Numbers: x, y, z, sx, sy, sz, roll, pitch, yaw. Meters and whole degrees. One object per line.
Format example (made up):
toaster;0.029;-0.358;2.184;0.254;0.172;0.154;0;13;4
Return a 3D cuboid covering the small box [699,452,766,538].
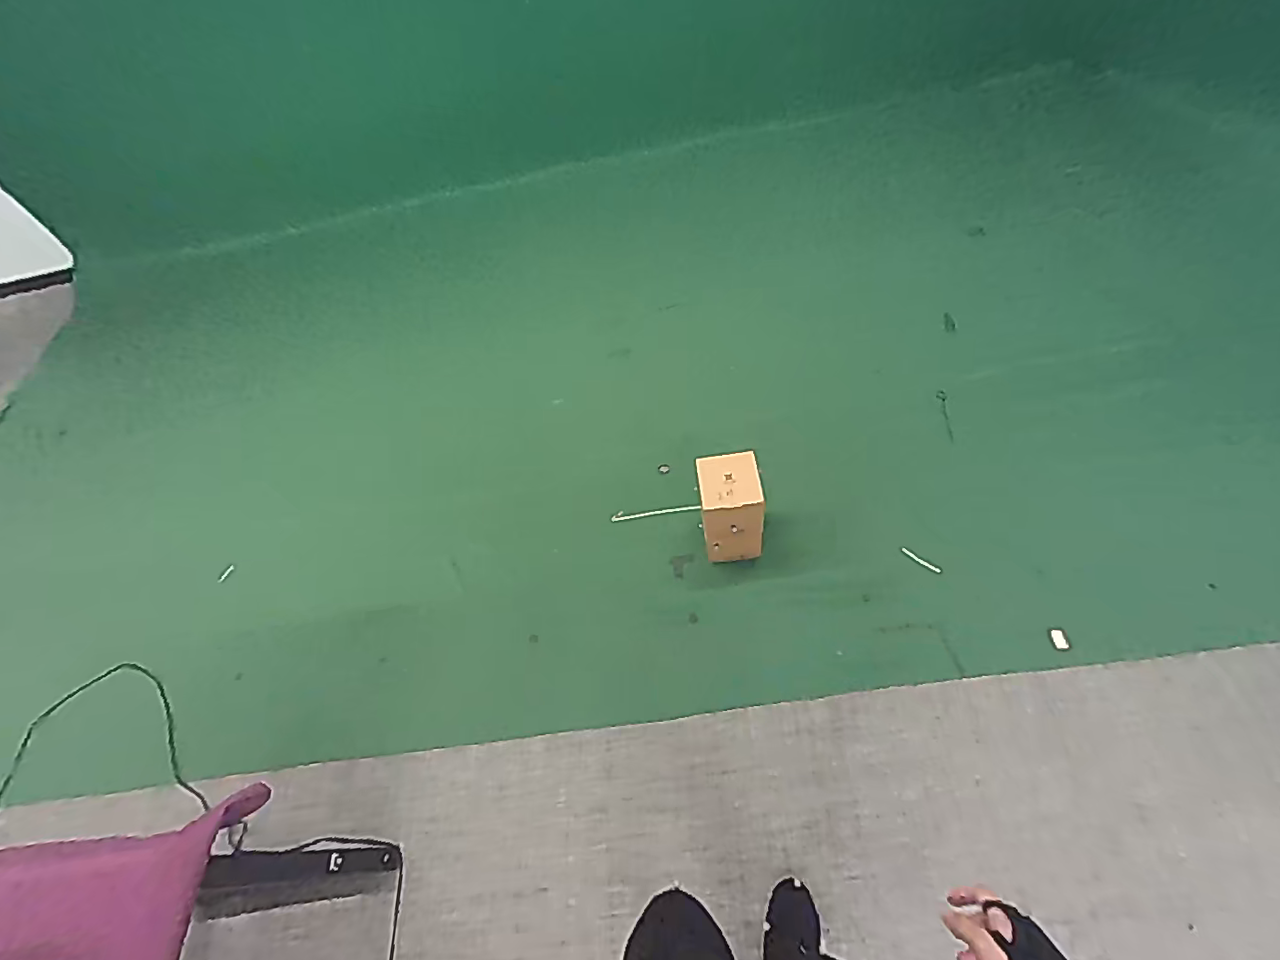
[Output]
small box;0.260;0.046;1.545;0.168;0.176;0.179;-8;56;6
